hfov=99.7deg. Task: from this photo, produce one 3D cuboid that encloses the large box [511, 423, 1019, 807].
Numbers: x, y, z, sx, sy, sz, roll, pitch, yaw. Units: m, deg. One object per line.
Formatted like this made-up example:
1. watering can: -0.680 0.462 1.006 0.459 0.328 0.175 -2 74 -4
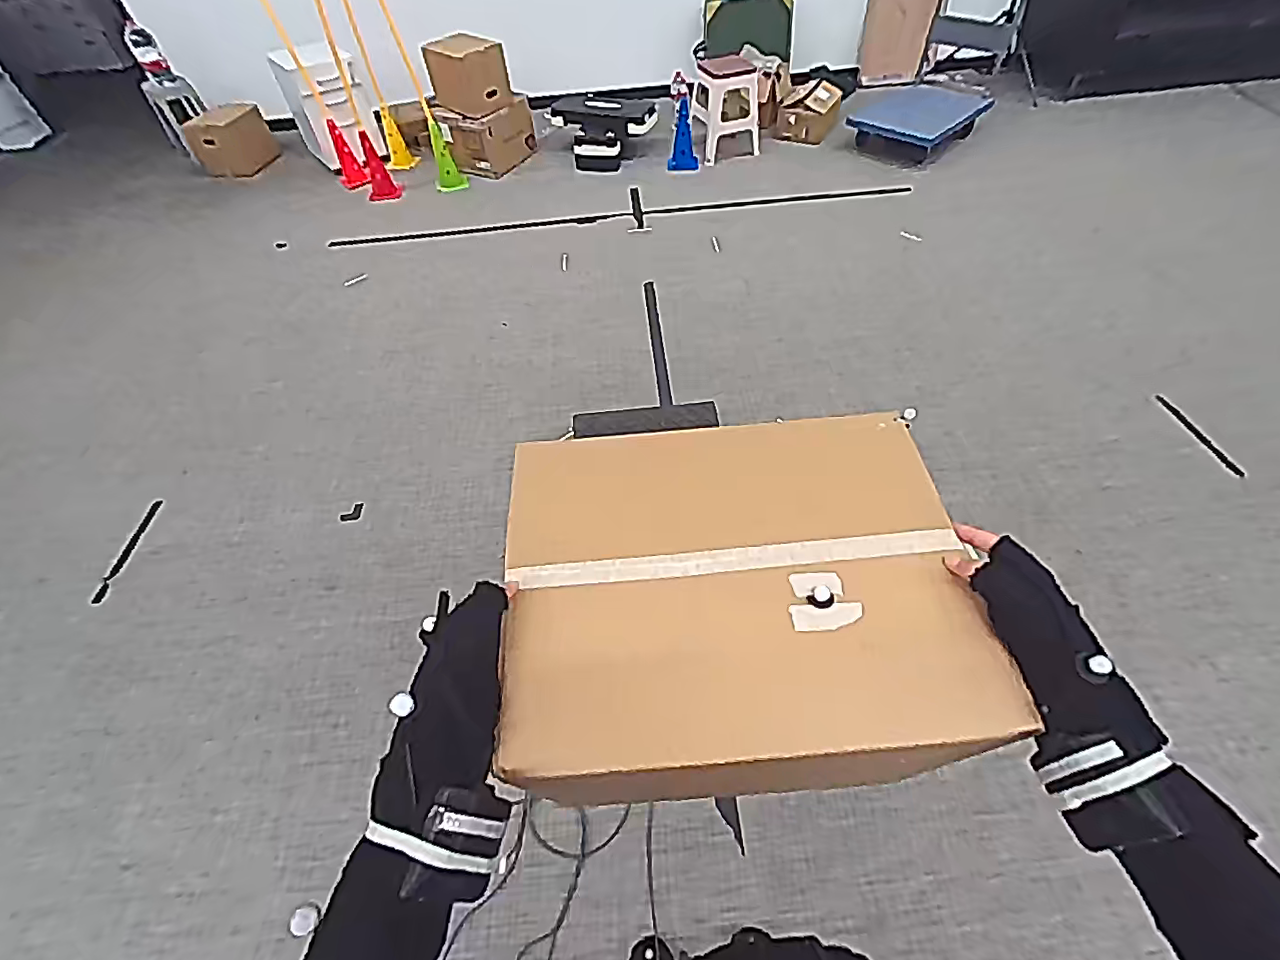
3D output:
1. large box: 0.090 0.166 0.619 0.408 0.320 0.320 -5 55 0
